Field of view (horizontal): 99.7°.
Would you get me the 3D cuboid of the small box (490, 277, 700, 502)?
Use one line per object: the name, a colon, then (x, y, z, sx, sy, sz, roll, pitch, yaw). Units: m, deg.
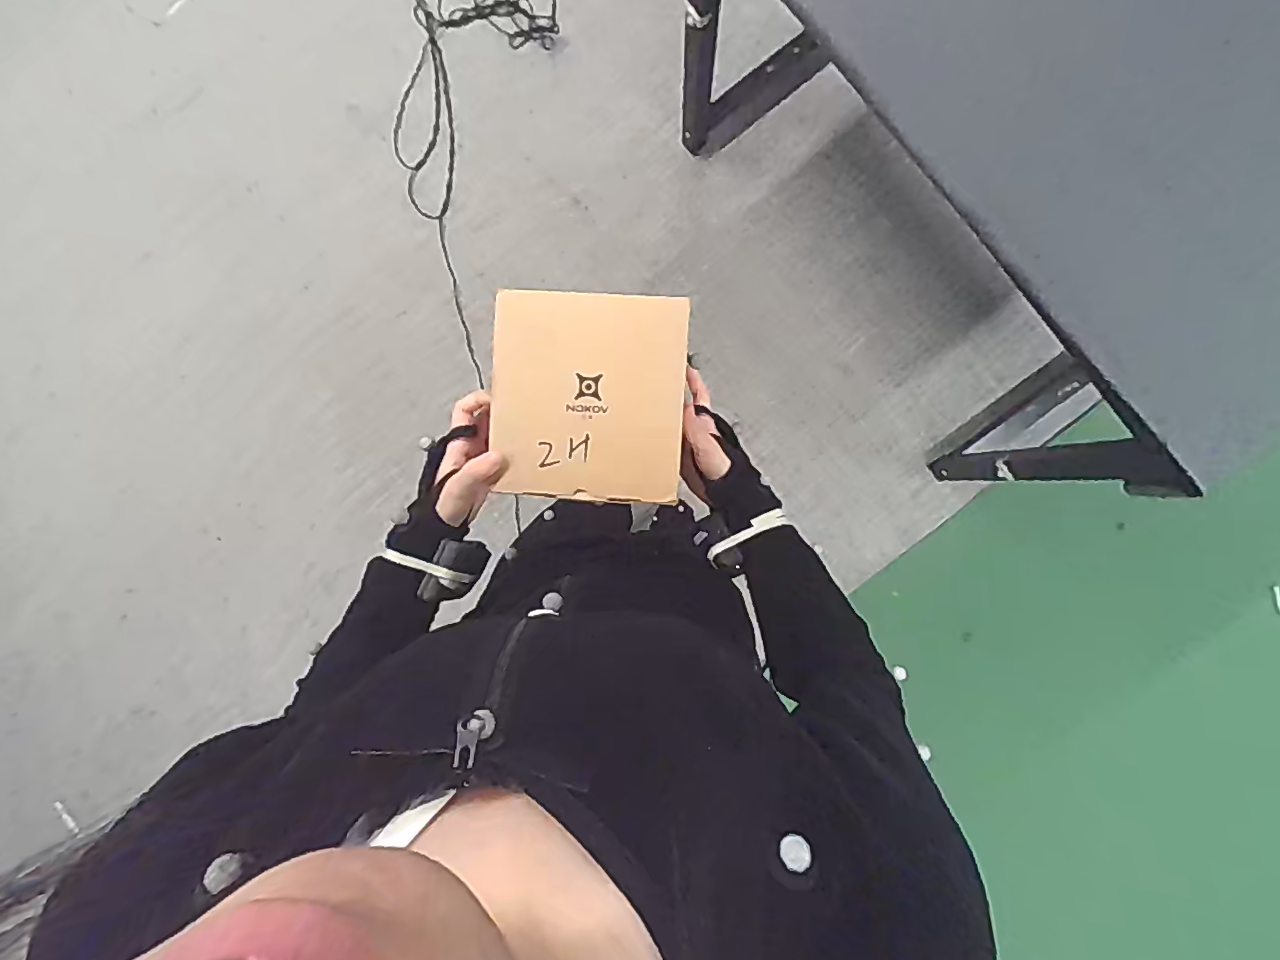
small box: (-0.037, -0.078, 0.527, 0.168, 0.176, 0.179, 4, 94, 1)
